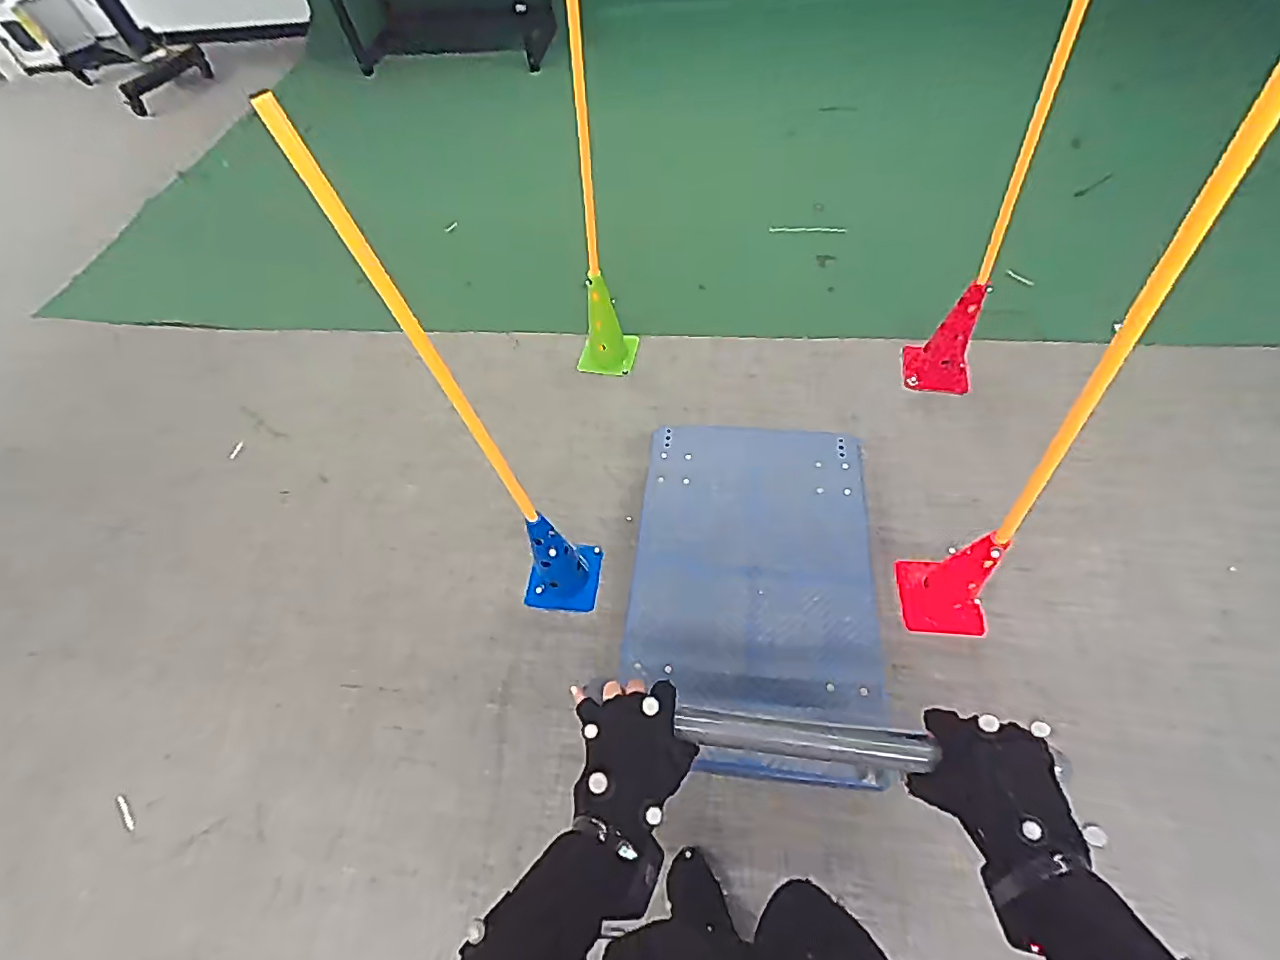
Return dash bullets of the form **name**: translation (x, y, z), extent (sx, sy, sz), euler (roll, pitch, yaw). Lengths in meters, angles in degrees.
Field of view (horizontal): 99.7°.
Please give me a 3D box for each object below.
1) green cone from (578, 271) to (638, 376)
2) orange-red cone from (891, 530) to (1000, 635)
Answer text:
- **green cone**: translation (-0.134, -0.559, 1.870), extent (0.202, 0.368, 0.200), euler (7, 58, 11)
- **orange-red cone**: translation (0.764, 0.220, 1.296), extent (0.199, 0.360, 0.198), euler (2, 57, 9)
